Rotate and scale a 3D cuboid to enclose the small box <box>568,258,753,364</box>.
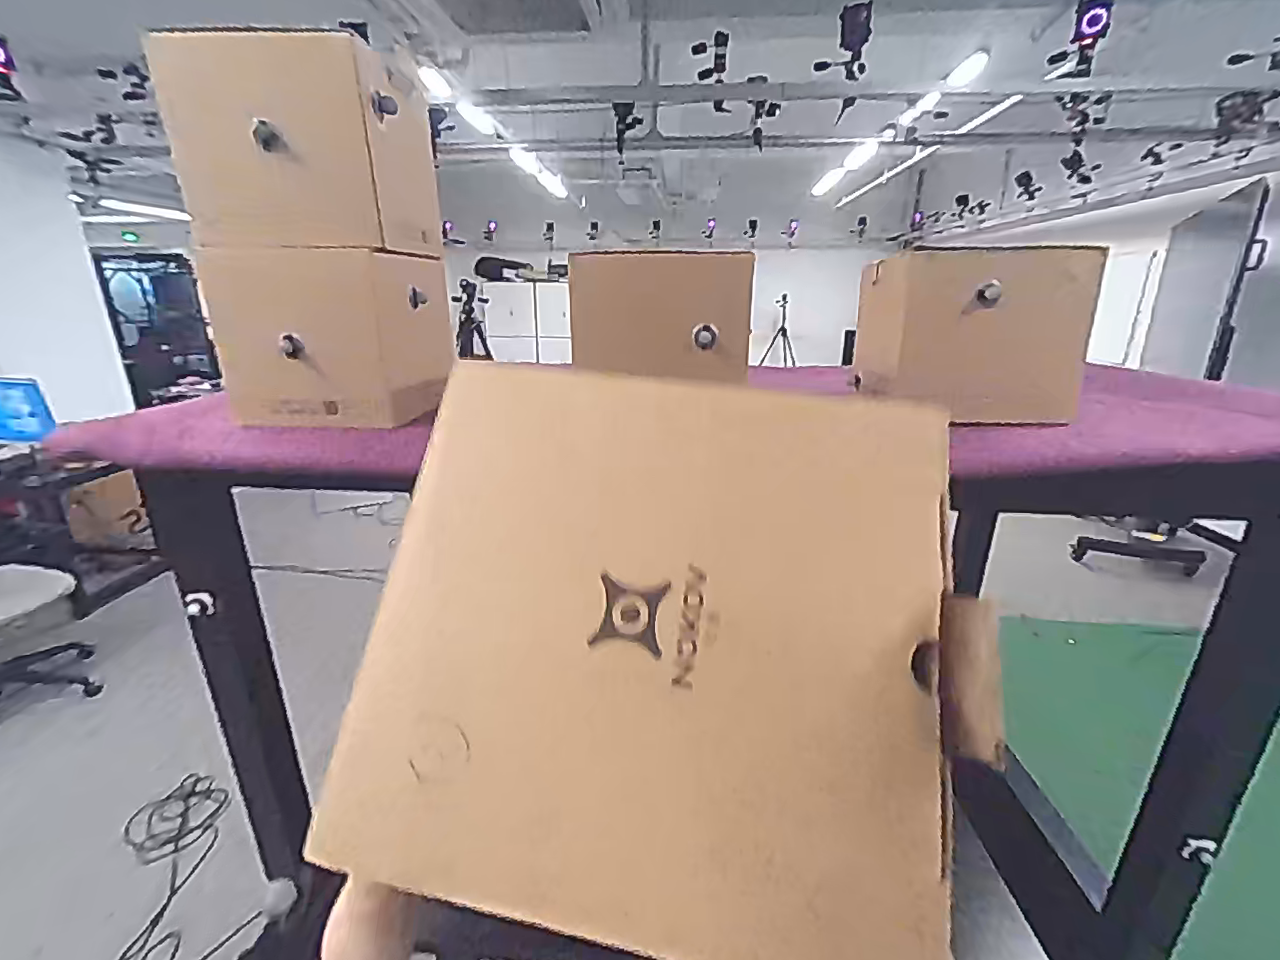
[{"bbox_3d":[0.023,-0.149,0.602,0.179,0.176,0.168,0,17,4],"label":"small box"}]

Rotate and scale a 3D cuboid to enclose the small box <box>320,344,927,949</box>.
[{"bbox_3d":[0.009,0.059,0.249,0.179,0.168,0.176,7,-18,9],"label":"small box"}]

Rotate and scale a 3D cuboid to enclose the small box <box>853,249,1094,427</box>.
[{"bbox_3d":[0.347,-0.153,0.605,0.179,0.176,0.168,2,16,6],"label":"small box"}]

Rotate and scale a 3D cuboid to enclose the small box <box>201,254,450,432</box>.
[{"bbox_3d":[-0.319,-0.152,0.595,0.168,0.176,0.179,2,18,2],"label":"small box"}]
